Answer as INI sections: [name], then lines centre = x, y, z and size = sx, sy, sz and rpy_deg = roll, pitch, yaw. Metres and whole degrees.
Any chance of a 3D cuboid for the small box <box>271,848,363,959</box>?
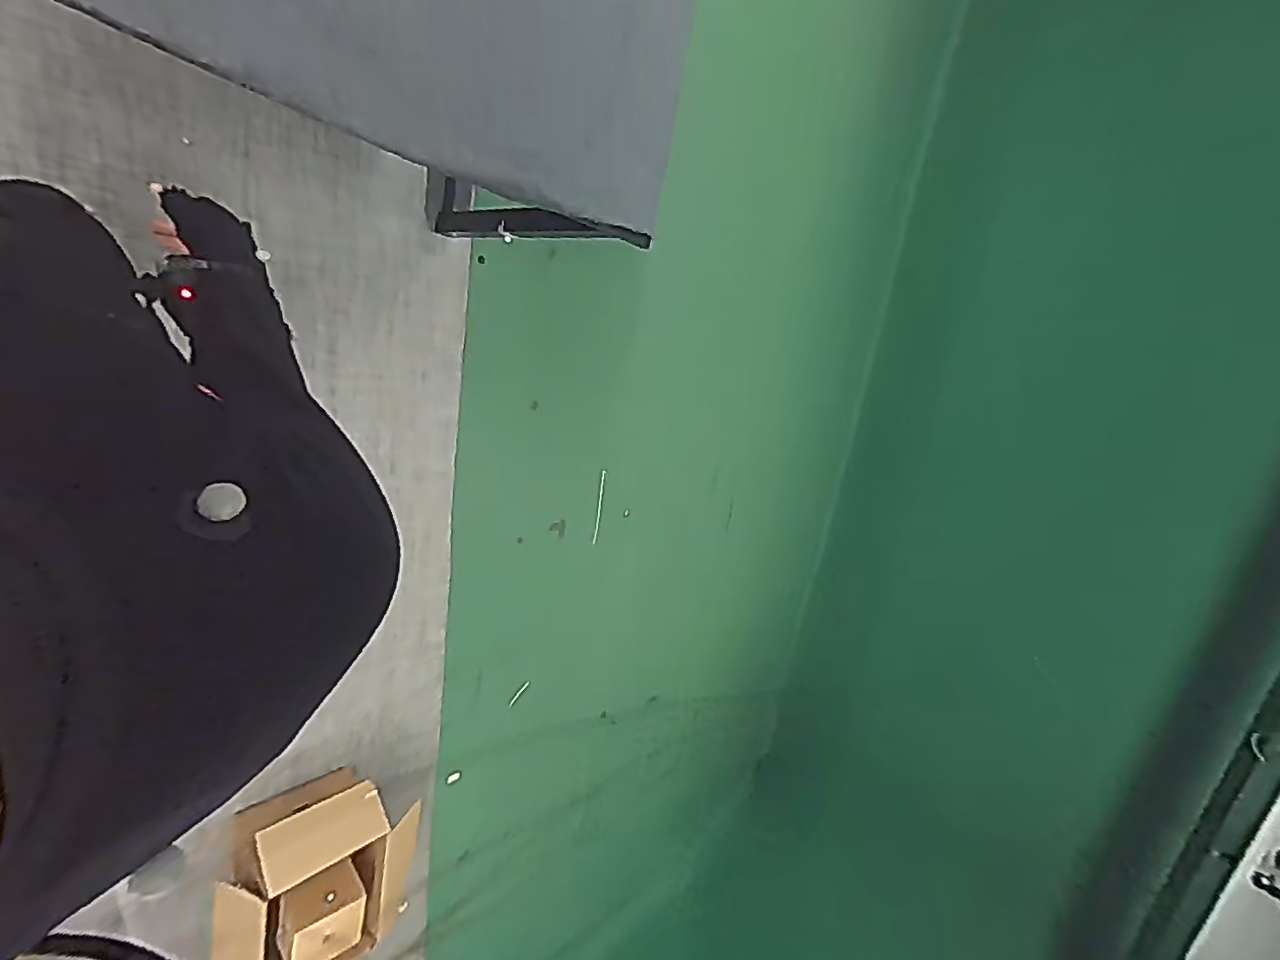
[small box]
centre = -0.887, 1.168, 1.477
size = 0.179, 0.176, 0.168
rpy_deg = -2, 108, -48
